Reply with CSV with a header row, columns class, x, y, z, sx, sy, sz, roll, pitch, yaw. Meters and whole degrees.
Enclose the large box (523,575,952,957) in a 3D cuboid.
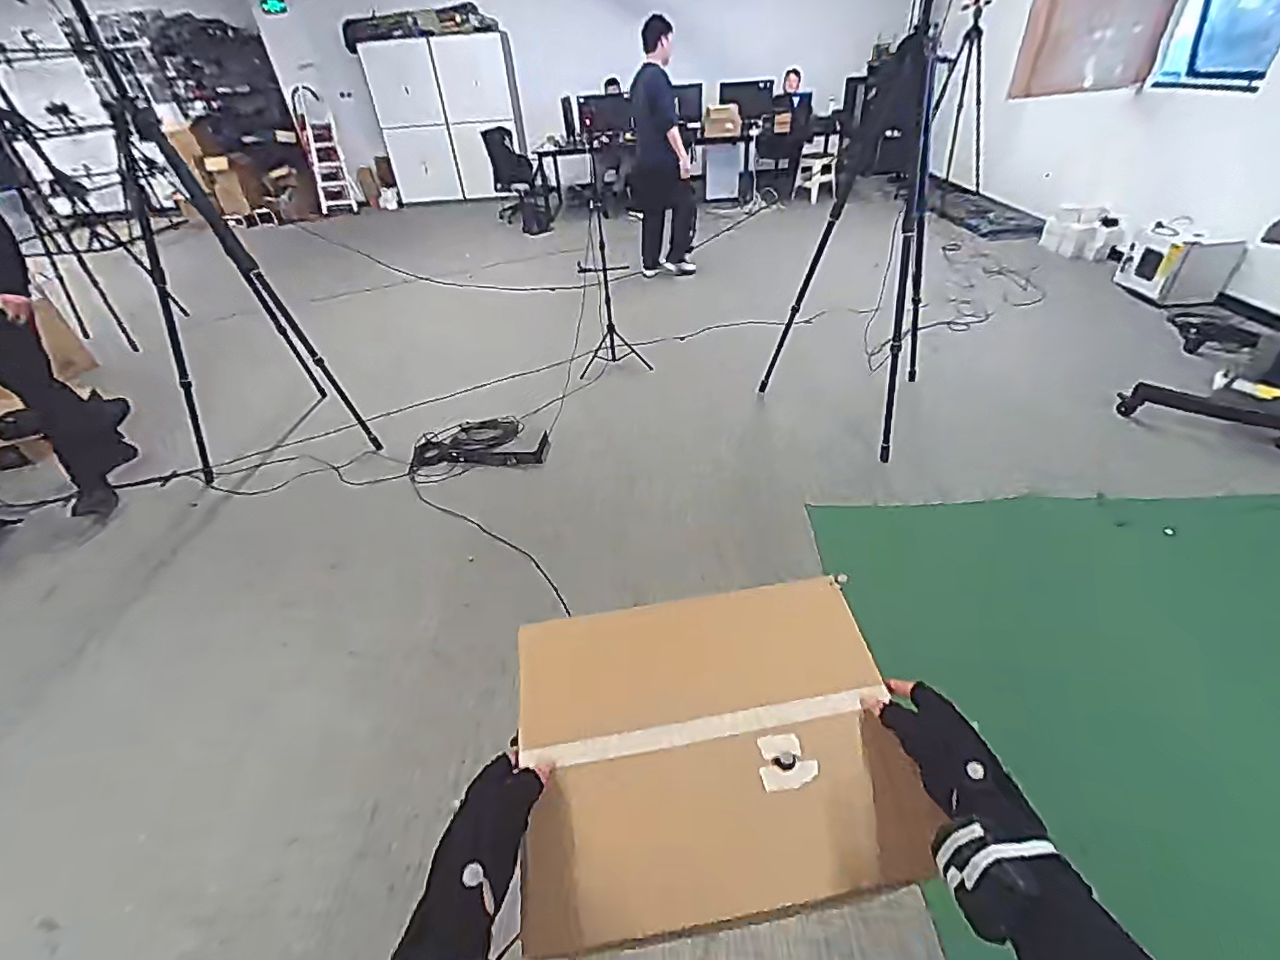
class,x,y,z,sx,sy,sz,roll,pitch,yaw
large box,0.078,0.363,0.693,0.408,0.320,0.320,-8,48,-5
